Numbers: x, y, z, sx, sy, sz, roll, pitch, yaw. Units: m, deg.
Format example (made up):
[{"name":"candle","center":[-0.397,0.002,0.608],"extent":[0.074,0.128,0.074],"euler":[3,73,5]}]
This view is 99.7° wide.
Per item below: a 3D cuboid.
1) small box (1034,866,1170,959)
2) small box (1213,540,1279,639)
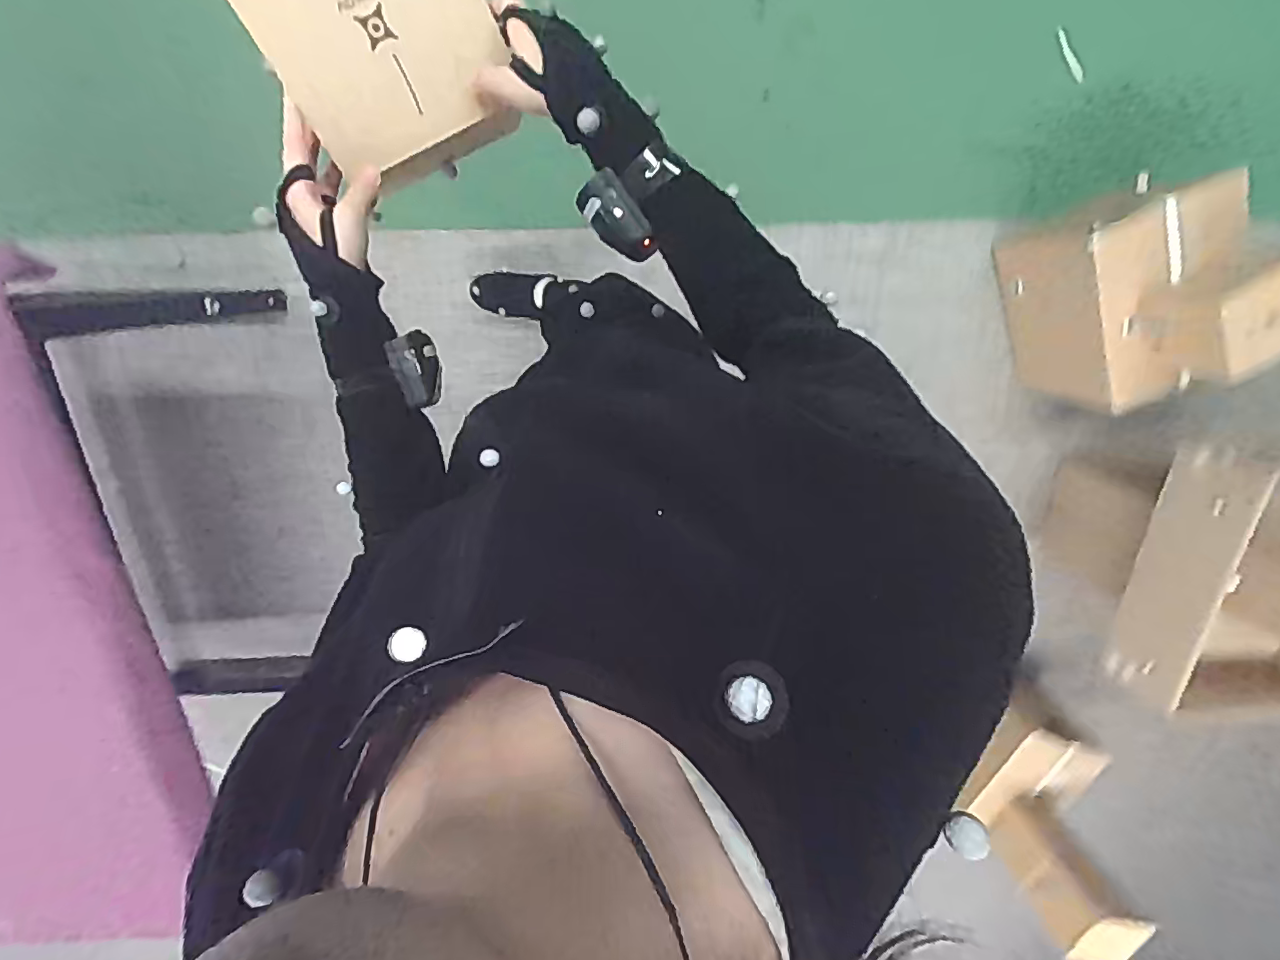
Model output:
[{"name":"small box","center":[1.215,1.168,1.437],"extent":[0.179,0.176,0.168],"euler":[16,108,-8]},{"name":"small box","center":[1.427,0.235,1.166],"extent":[0.179,0.176,0.168],"euler":[-2,109,-1]}]
